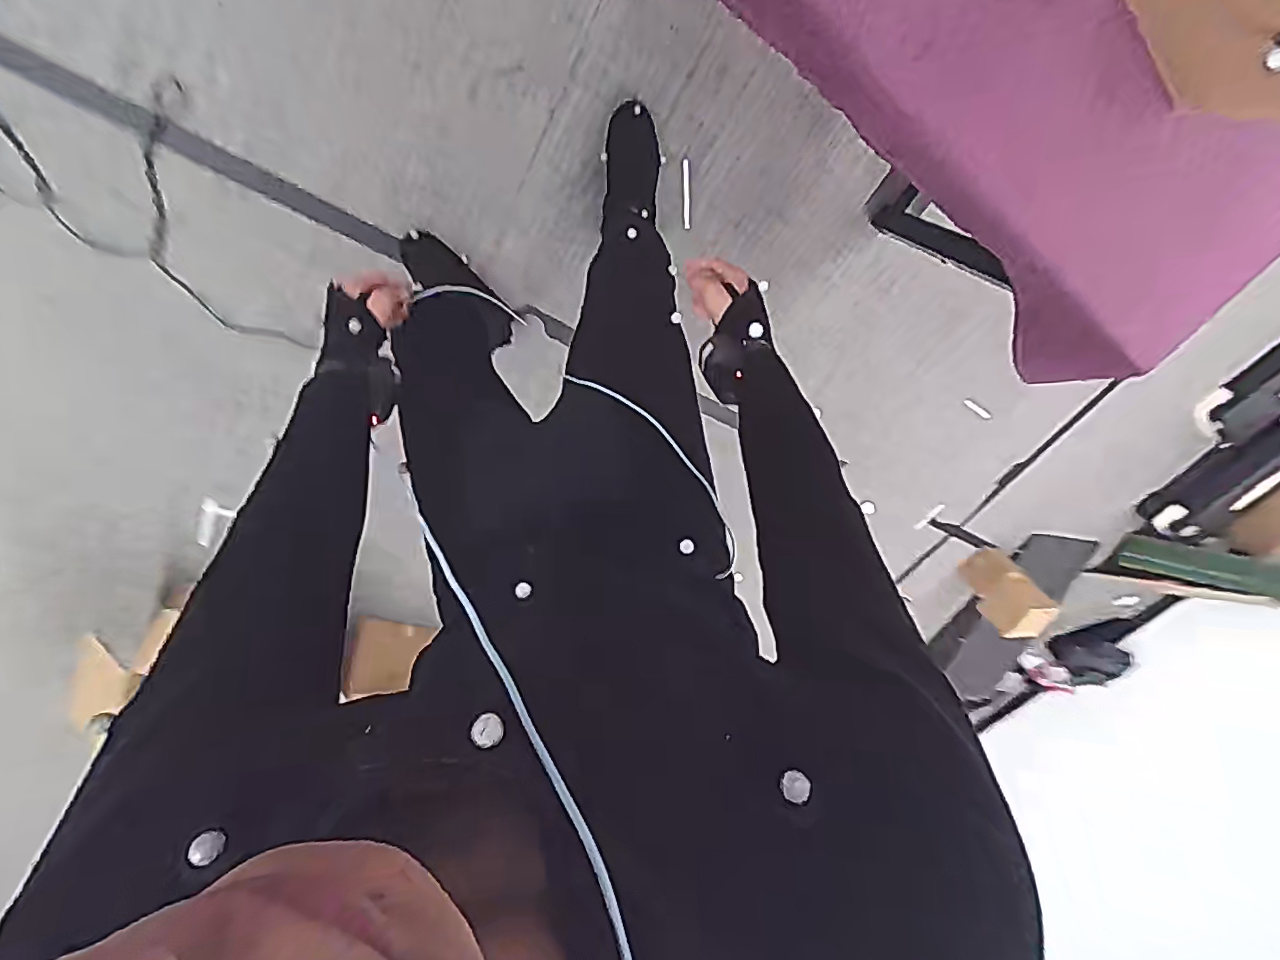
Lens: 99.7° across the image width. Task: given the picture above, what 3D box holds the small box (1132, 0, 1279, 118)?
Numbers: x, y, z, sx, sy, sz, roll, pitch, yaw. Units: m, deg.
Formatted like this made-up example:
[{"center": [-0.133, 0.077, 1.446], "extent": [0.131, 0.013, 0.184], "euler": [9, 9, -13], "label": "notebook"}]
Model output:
[{"center": [0.567, -0.430, 0.439], "extent": [0.179, 0.176, 0.168], "euler": [23, 119, -30], "label": "small box"}]
